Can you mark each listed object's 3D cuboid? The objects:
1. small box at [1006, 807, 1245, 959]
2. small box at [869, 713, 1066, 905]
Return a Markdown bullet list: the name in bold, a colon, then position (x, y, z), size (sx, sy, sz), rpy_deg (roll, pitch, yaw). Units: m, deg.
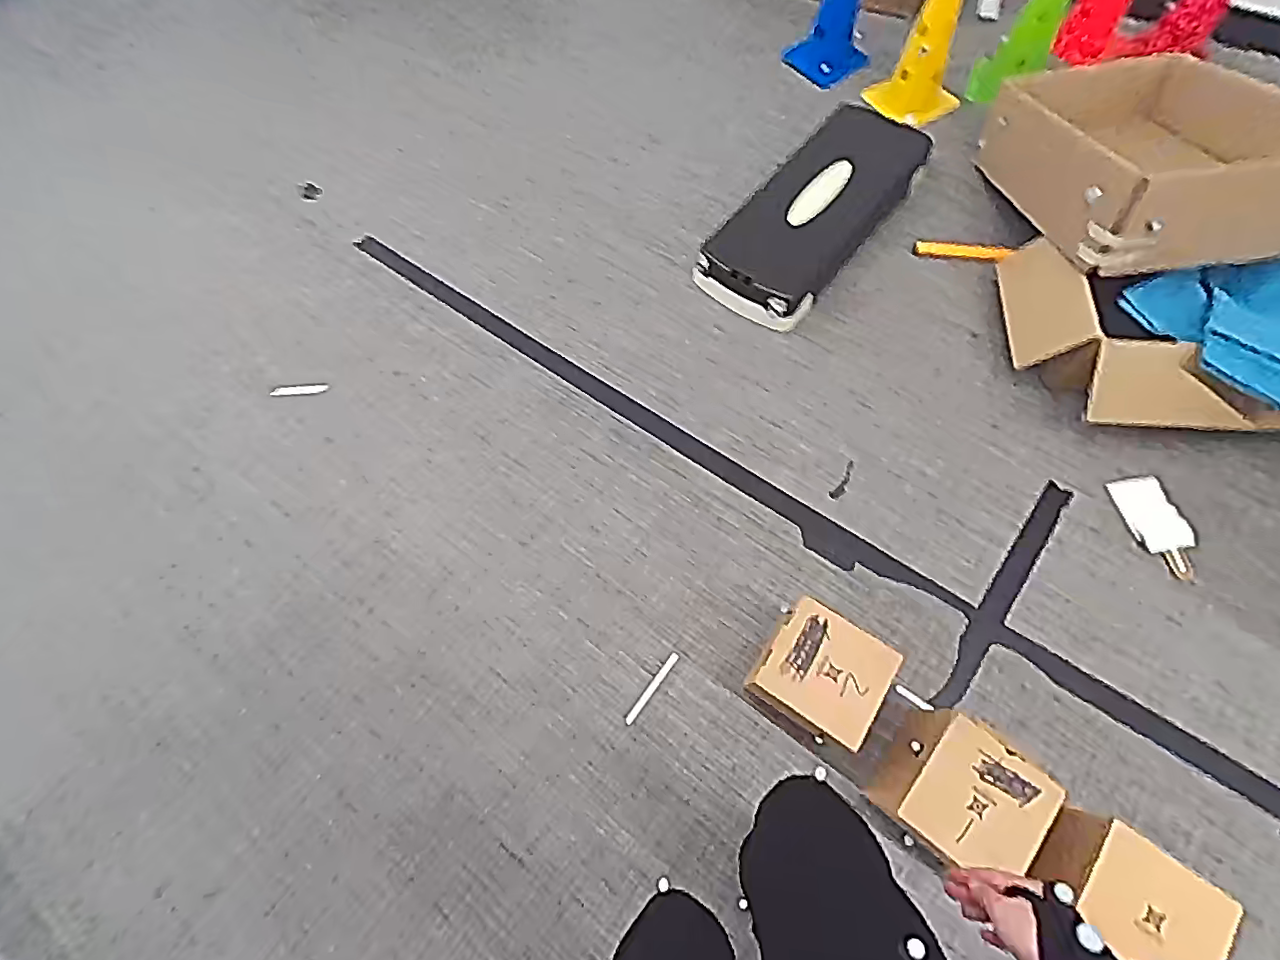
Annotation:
- **small box**: position (0.665, 0.600, 0.765), size (0.168, 0.176, 0.179), rpy_deg (35, 75, 16)
- **small box**: position (0.481, 0.479, 0.825), size (0.168, 0.176, 0.179), rpy_deg (37, 76, 17)
